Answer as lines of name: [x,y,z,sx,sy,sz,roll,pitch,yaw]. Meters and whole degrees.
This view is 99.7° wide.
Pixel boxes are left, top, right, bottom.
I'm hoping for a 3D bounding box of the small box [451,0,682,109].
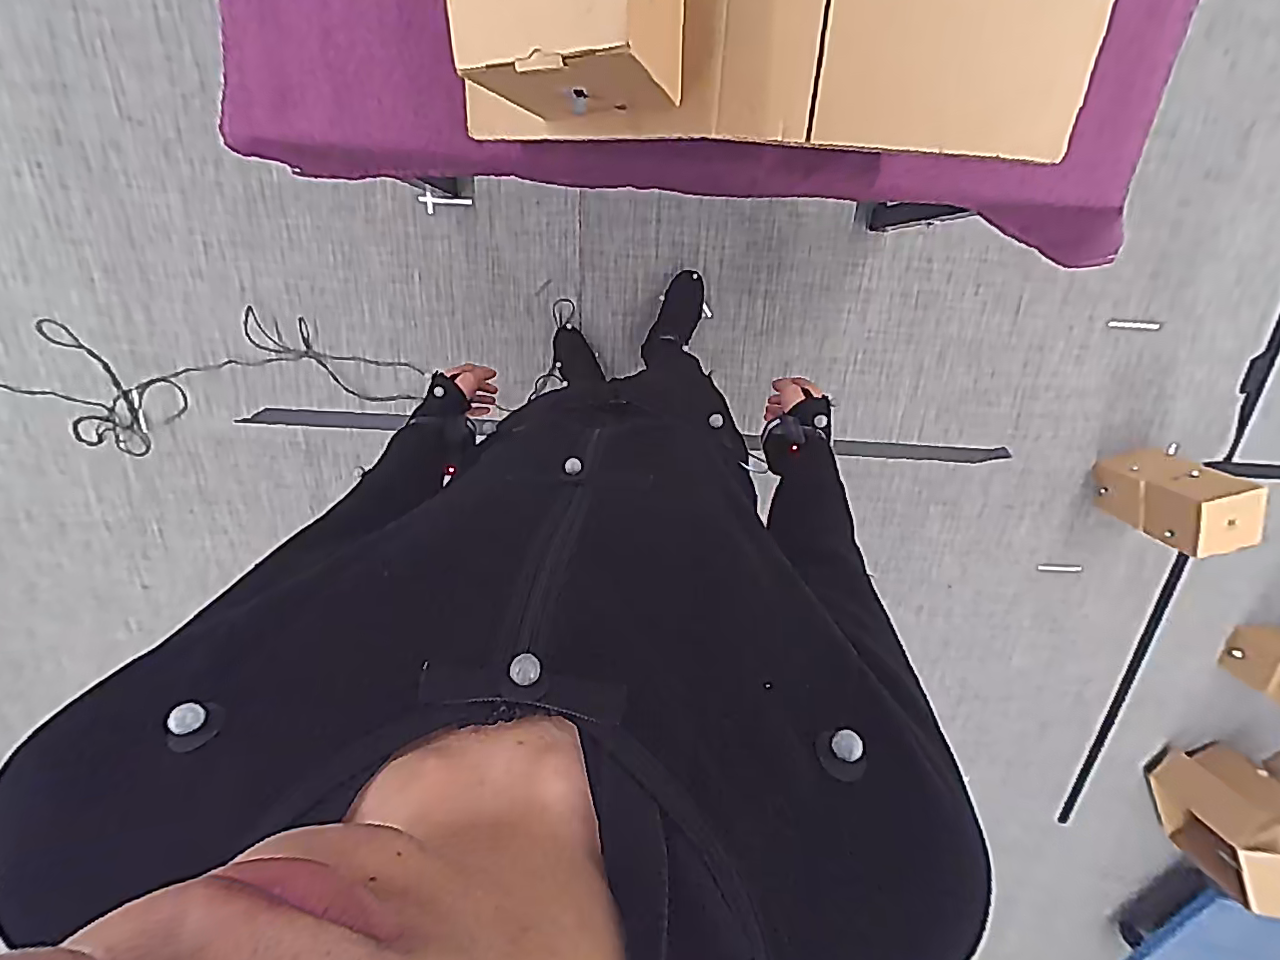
small box: [-0.058,-0.462,0.496,0.168,0.176,0.179,7,113,17]
